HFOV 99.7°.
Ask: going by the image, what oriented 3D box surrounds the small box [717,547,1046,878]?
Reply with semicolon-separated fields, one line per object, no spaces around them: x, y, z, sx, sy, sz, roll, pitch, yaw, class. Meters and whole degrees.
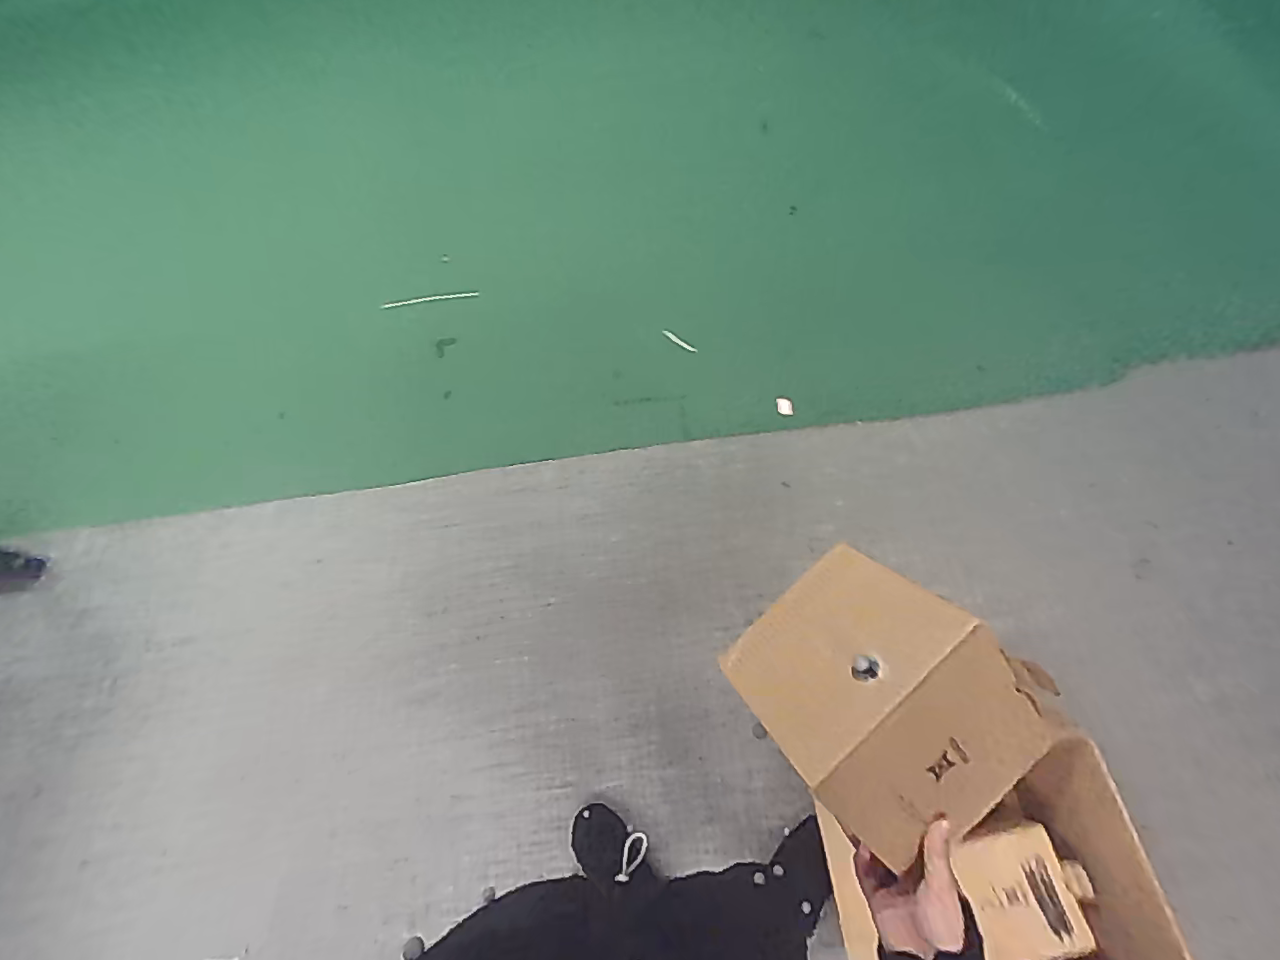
0.202;0.190;0.486;0.179;0.176;0.168;-43;112;-3;small box
